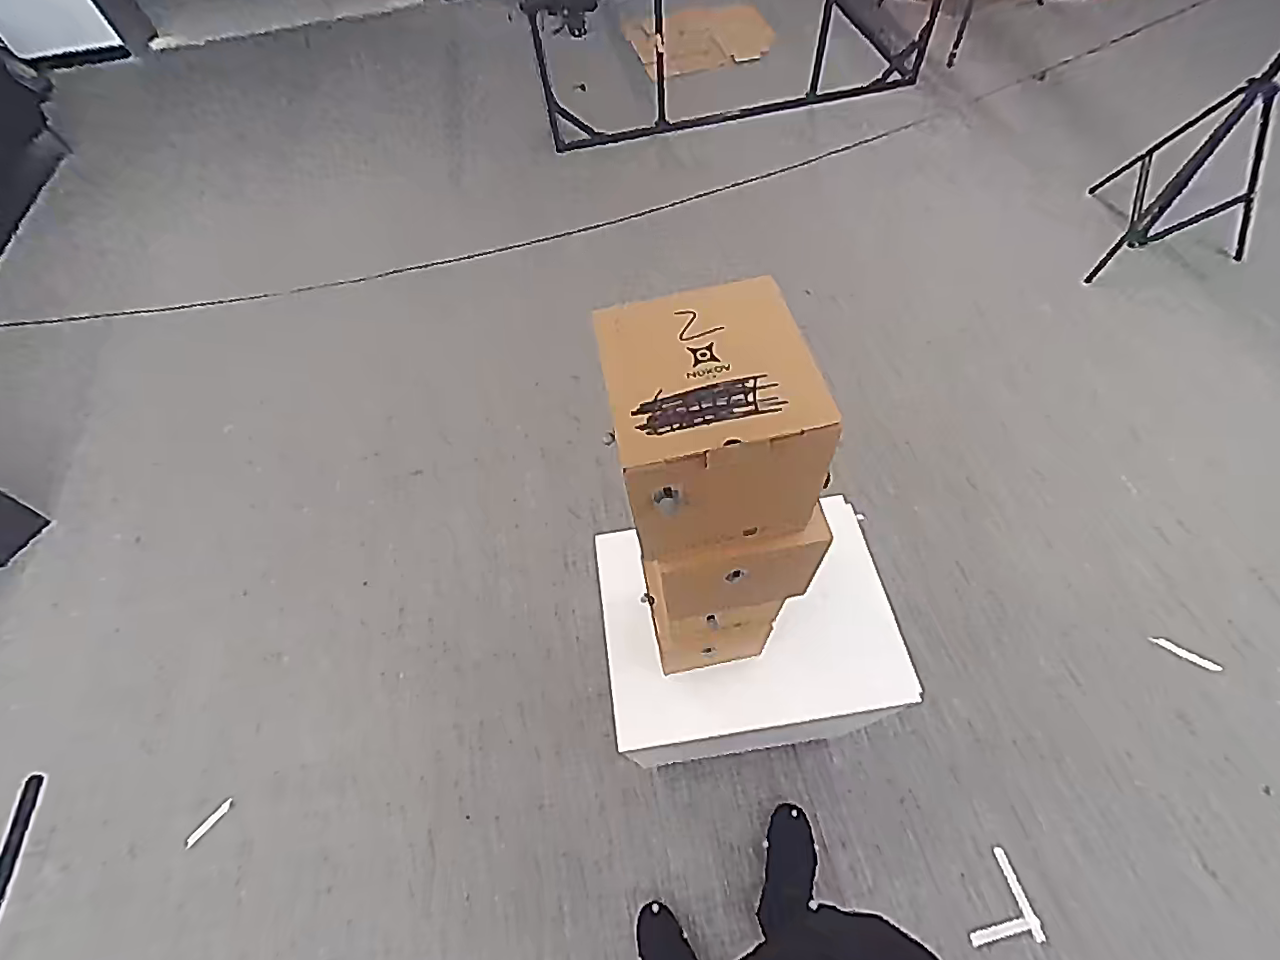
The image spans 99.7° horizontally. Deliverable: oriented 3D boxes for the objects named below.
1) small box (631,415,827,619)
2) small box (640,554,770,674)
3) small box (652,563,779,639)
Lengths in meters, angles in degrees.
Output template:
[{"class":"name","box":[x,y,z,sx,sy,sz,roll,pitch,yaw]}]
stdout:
[{"class":"small box","box":[0.094,0.051,0.636,0.179,0.176,0.168,-11,59,-2]},{"class":"small box","box":[0.104,0.218,0.917,0.179,0.176,0.168,-11,59,-3]},{"class":"small box","box":[0.102,0.121,0.787,0.168,0.176,0.179,-11,58,-2]}]
